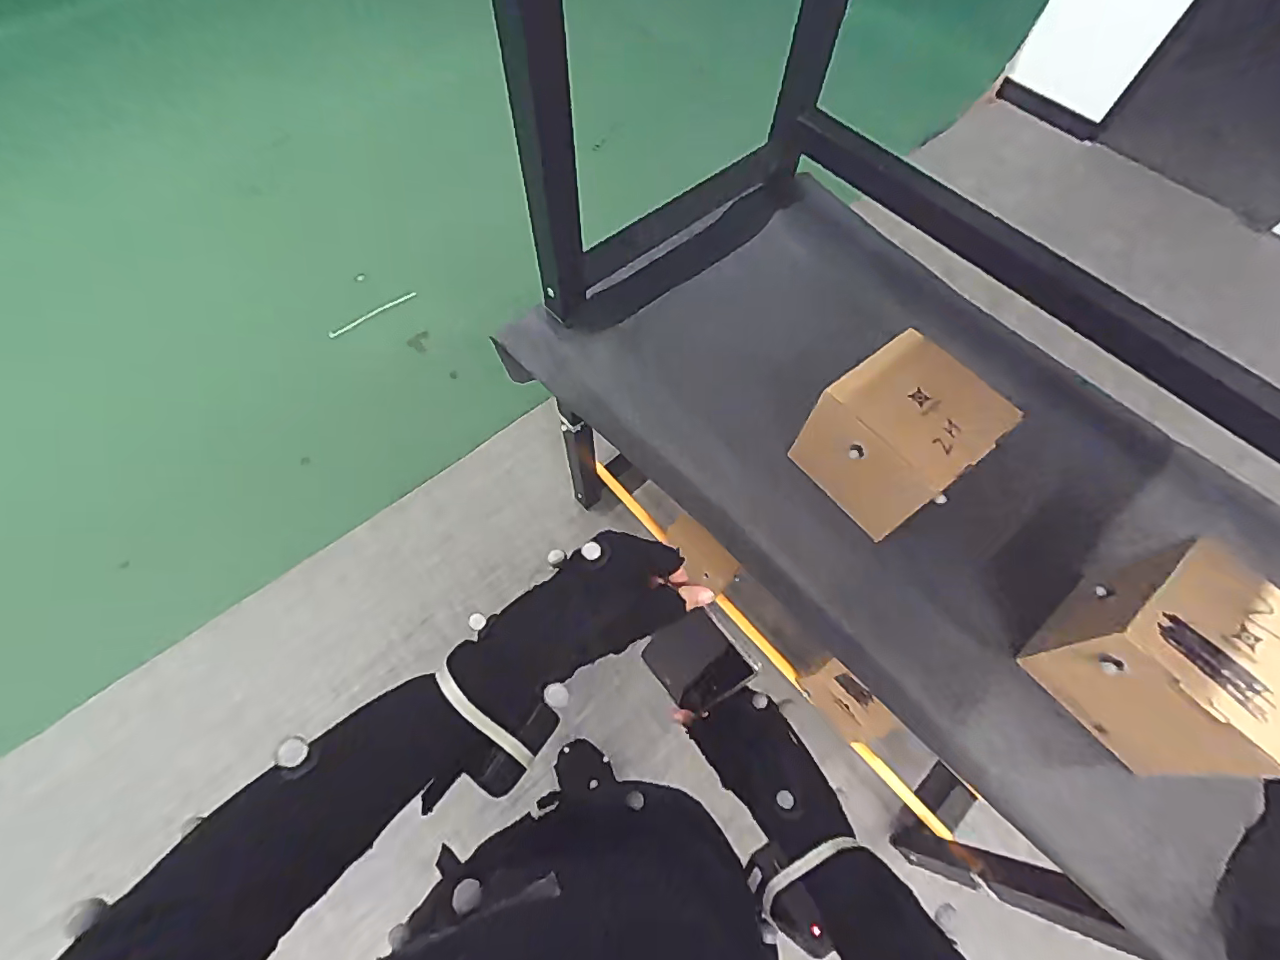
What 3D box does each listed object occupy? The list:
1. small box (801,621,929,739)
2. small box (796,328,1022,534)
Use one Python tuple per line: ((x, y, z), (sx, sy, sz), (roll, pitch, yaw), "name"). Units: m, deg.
((0.474, 0.439, 1.174), (0.179, 0.176, 0.168), (-35, 70, -17), "small box")
((0.338, -0.059, 0.719), (0.168, 0.176, 0.179), (-35, 70, -17), "small box")
